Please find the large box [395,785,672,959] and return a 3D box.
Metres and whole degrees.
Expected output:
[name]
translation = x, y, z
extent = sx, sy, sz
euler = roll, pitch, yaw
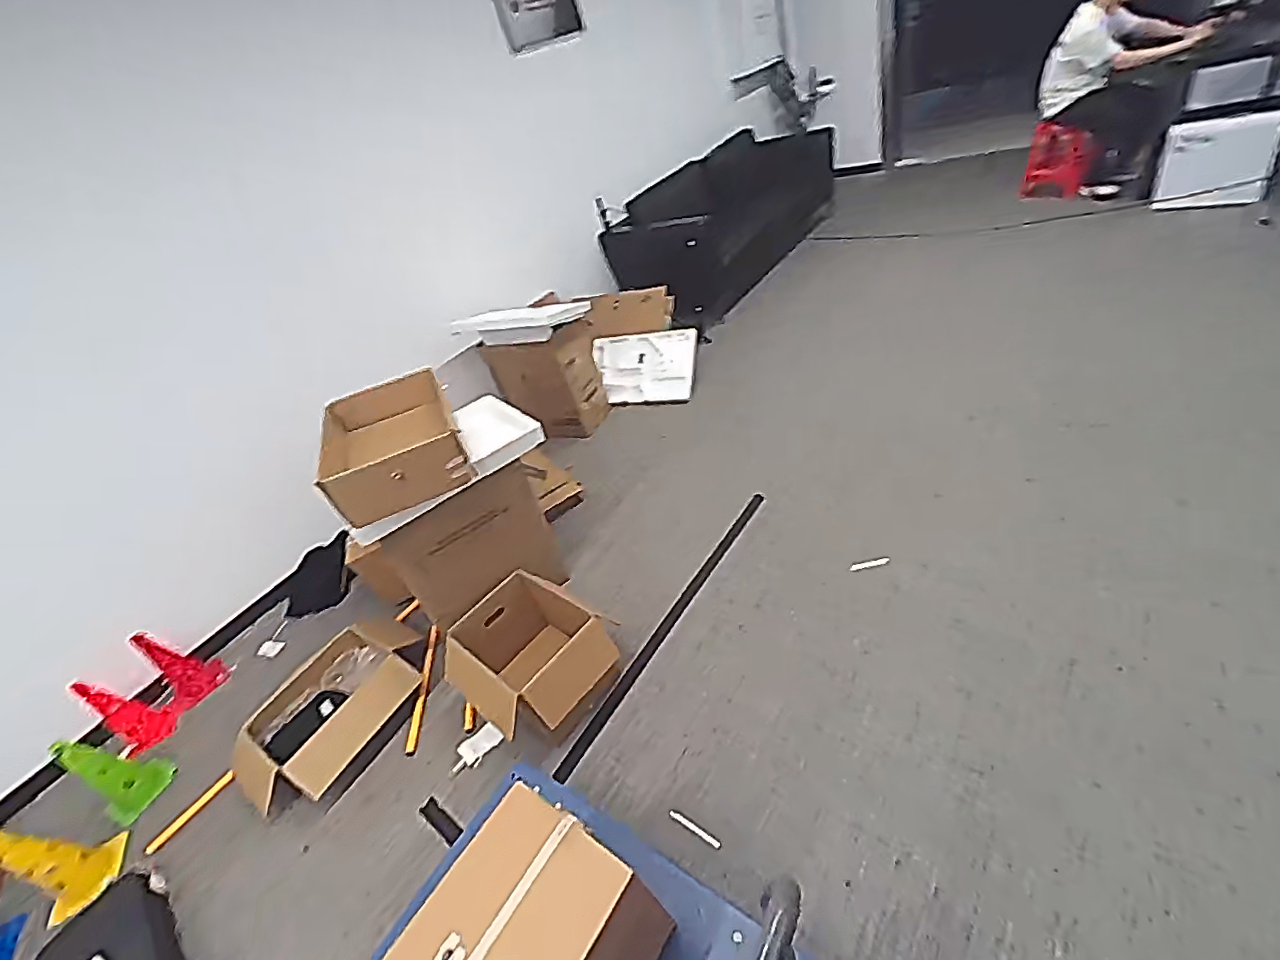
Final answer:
[large box]
translation = -0.194, 0.890, 1.009
extent = 0.320, 0.320, 0.408
euler = 12, 47, 38
